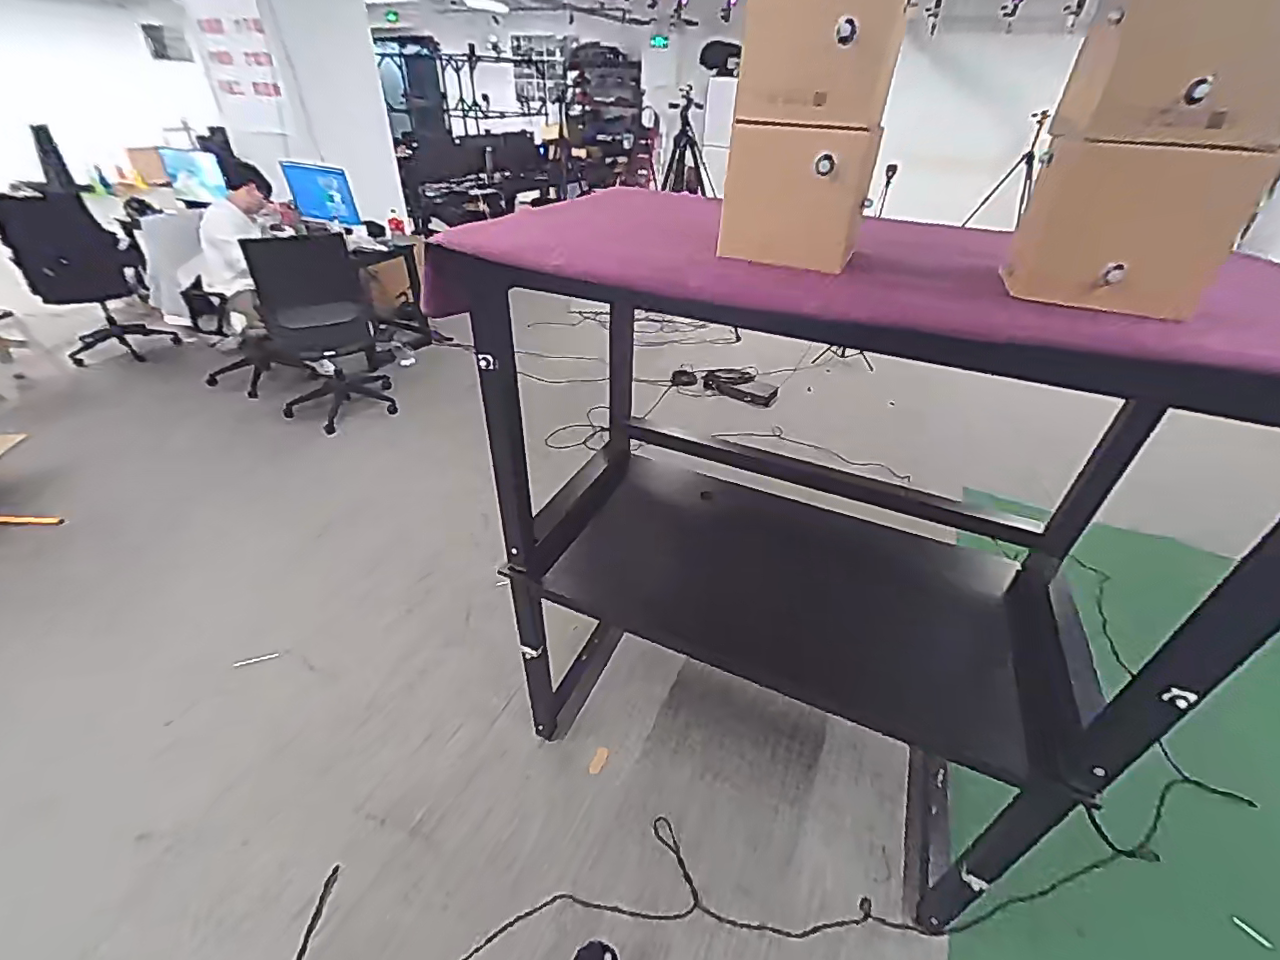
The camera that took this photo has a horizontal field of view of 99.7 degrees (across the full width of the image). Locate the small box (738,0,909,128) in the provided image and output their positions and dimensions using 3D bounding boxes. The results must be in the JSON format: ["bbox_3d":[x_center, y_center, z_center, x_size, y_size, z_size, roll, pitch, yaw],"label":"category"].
[{"bbox_3d":[0.228,-0.540,0.674,0.168,0.176,0.179,18,38,20],"label":"small box"}]

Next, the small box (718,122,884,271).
[{"bbox_3d":[0.224,-0.404,0.765,0.179,0.176,0.168,16,37,20],"label":"small box"}]

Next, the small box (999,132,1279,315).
[{"bbox_3d":[0.562,-0.305,0.641,0.179,0.176,0.168,16,36,19],"label":"small box"}]
